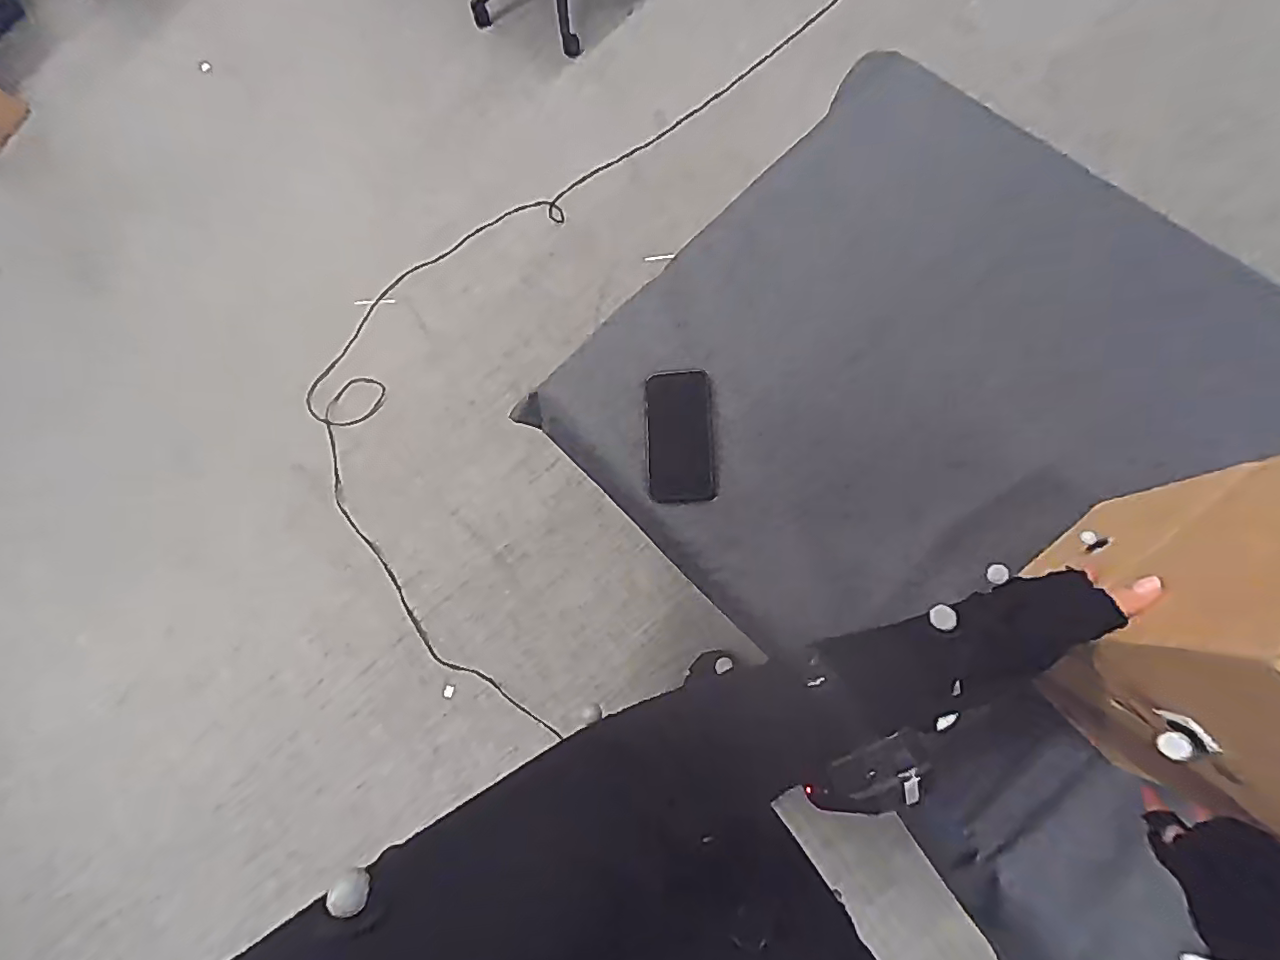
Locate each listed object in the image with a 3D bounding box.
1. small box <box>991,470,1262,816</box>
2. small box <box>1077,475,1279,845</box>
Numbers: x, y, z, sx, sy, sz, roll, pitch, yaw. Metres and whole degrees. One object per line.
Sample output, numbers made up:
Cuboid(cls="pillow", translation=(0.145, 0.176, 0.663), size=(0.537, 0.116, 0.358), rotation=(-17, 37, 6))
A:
Cuboid(cls="small box", translation=(0.418, 0.125, 0.422), size=(0.179, 0.176, 0.168), rotation=(-41, 73, -1))
Cuboid(cls="small box", translation=(0.383, 0.093, 0.267), size=(0.179, 0.176, 0.168), rotation=(-43, 72, 1))
